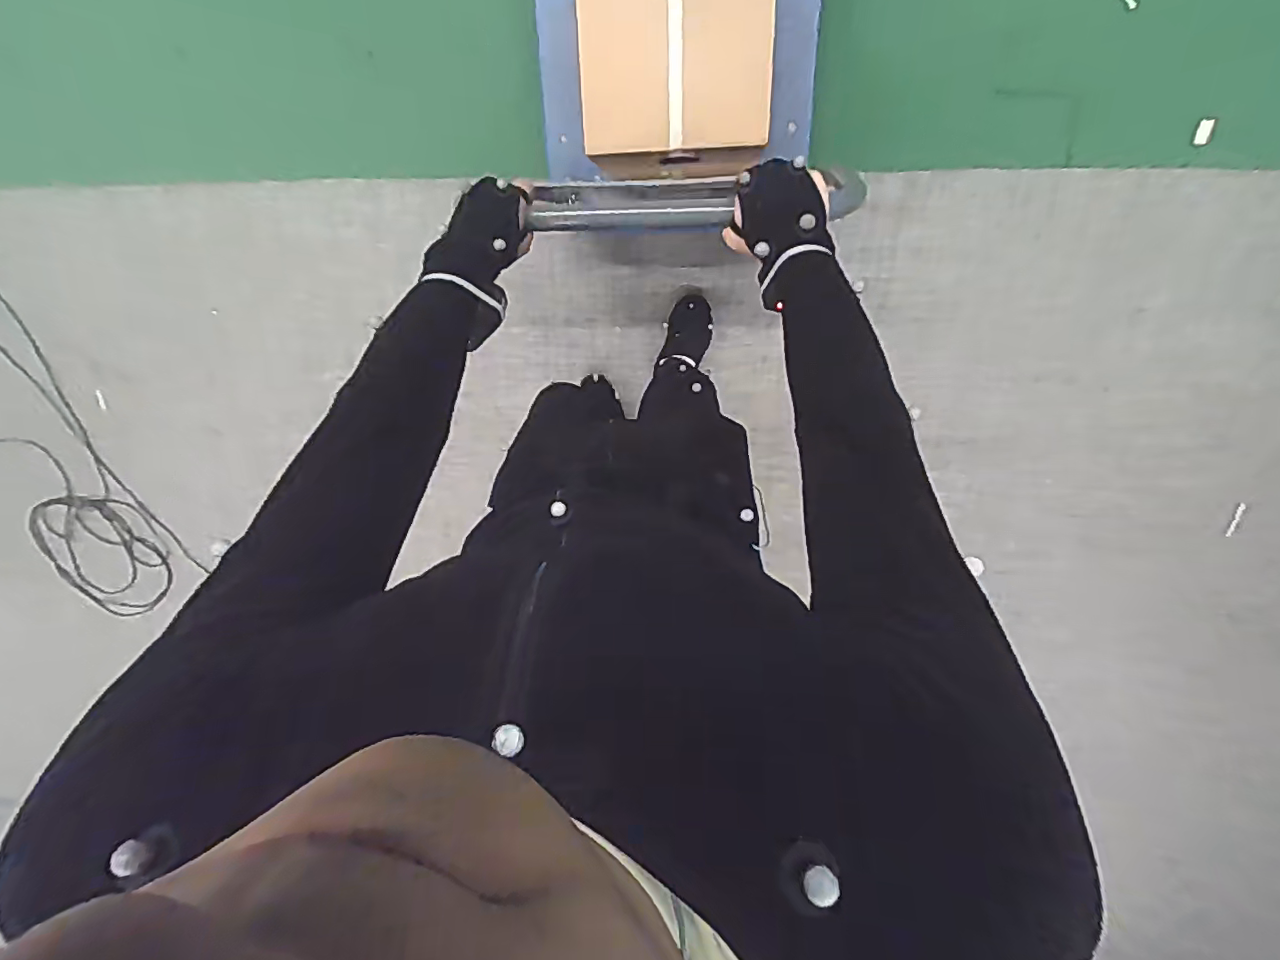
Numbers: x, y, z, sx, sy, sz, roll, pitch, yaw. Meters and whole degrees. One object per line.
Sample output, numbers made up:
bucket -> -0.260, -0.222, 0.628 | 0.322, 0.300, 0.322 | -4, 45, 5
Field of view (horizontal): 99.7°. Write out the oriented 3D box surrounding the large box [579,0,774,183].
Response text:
large box -> 0.074, -0.800, 0.994 | 0.320, 0.320, 0.408 | 1, 111, 6
